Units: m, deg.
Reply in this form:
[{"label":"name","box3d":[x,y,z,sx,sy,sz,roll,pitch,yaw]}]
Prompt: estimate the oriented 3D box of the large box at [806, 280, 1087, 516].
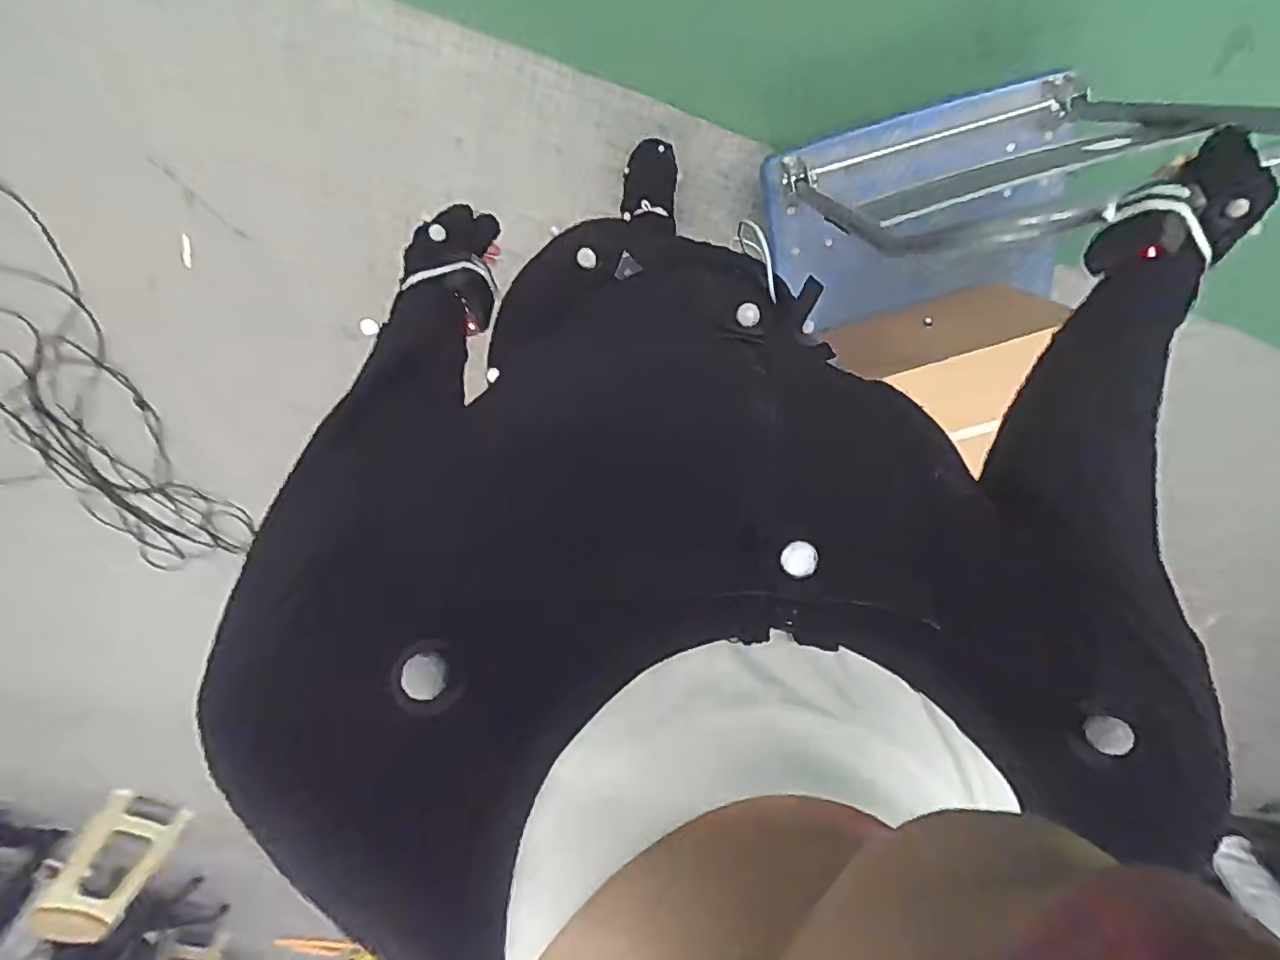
[{"label":"large box","box3d":[0.614,-0.181,1.142,0.408,0.320,0.320,-17,121,8]}]
